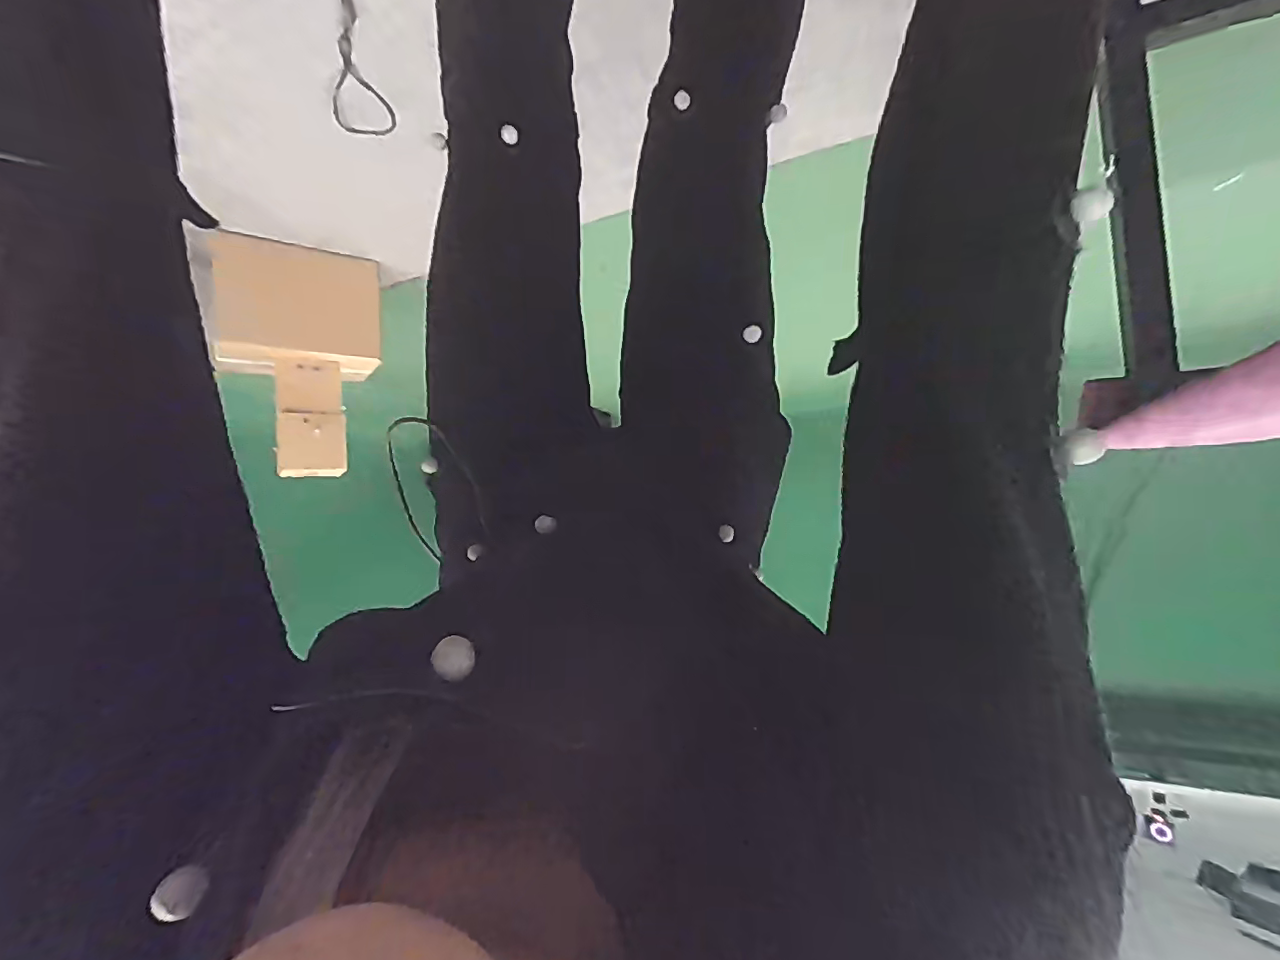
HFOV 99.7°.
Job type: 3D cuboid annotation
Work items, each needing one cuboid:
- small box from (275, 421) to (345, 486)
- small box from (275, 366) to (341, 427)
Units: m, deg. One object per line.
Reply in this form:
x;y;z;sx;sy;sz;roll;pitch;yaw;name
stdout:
-0.990;-0.075;1.620;0.168;0.176;0.179;-1;174;-37;small box
-1.007;-0.237;1.642;0.168;0.176;0.179;-1;175;-32;small box
